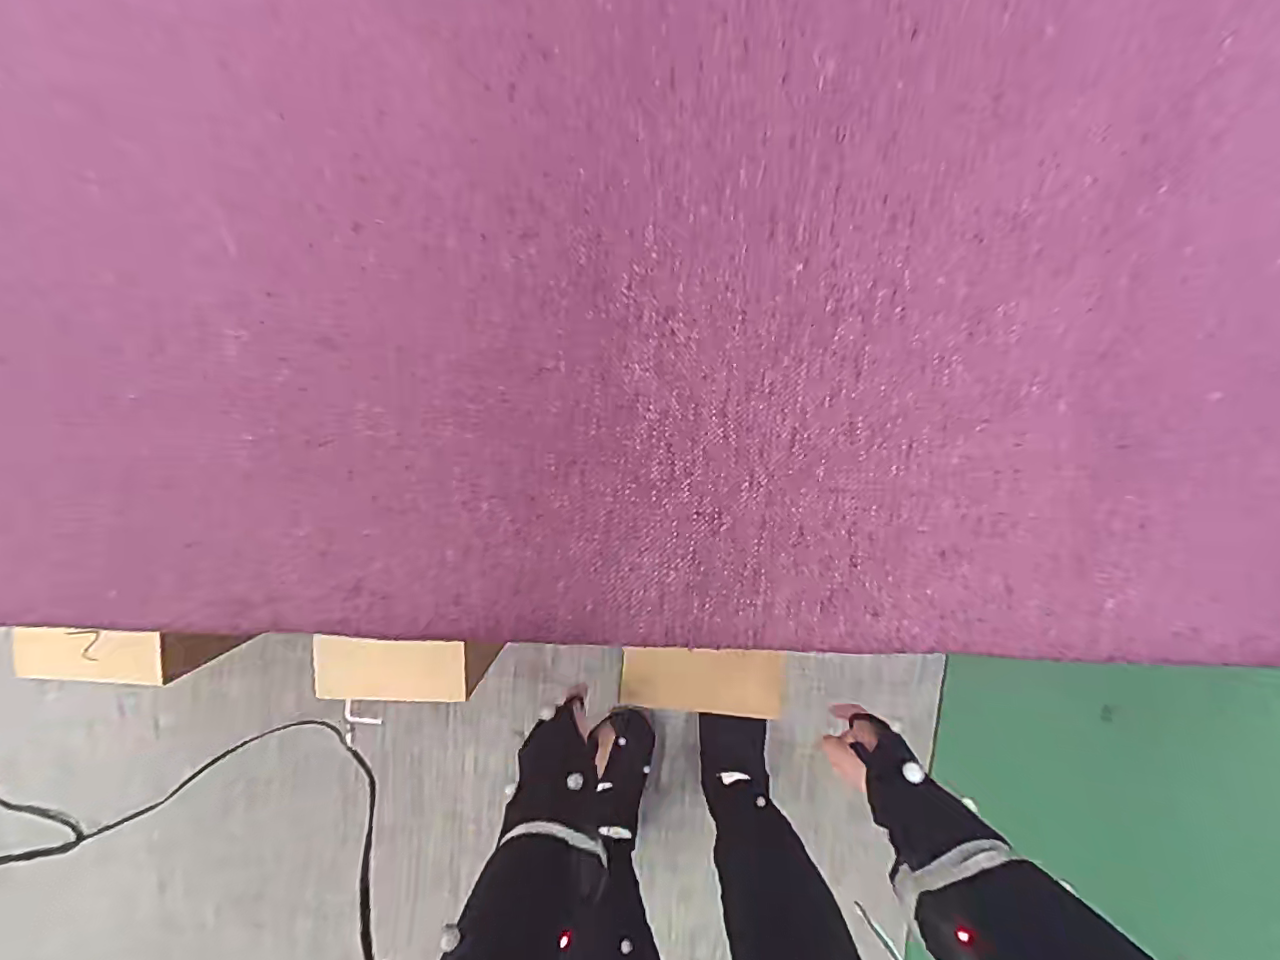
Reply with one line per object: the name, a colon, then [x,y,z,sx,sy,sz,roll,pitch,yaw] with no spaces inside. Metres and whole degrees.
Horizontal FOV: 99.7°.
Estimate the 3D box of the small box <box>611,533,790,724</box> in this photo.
small box: [0.066,0.165,0.658,0.179,0.176,0.168,6,97,1]
